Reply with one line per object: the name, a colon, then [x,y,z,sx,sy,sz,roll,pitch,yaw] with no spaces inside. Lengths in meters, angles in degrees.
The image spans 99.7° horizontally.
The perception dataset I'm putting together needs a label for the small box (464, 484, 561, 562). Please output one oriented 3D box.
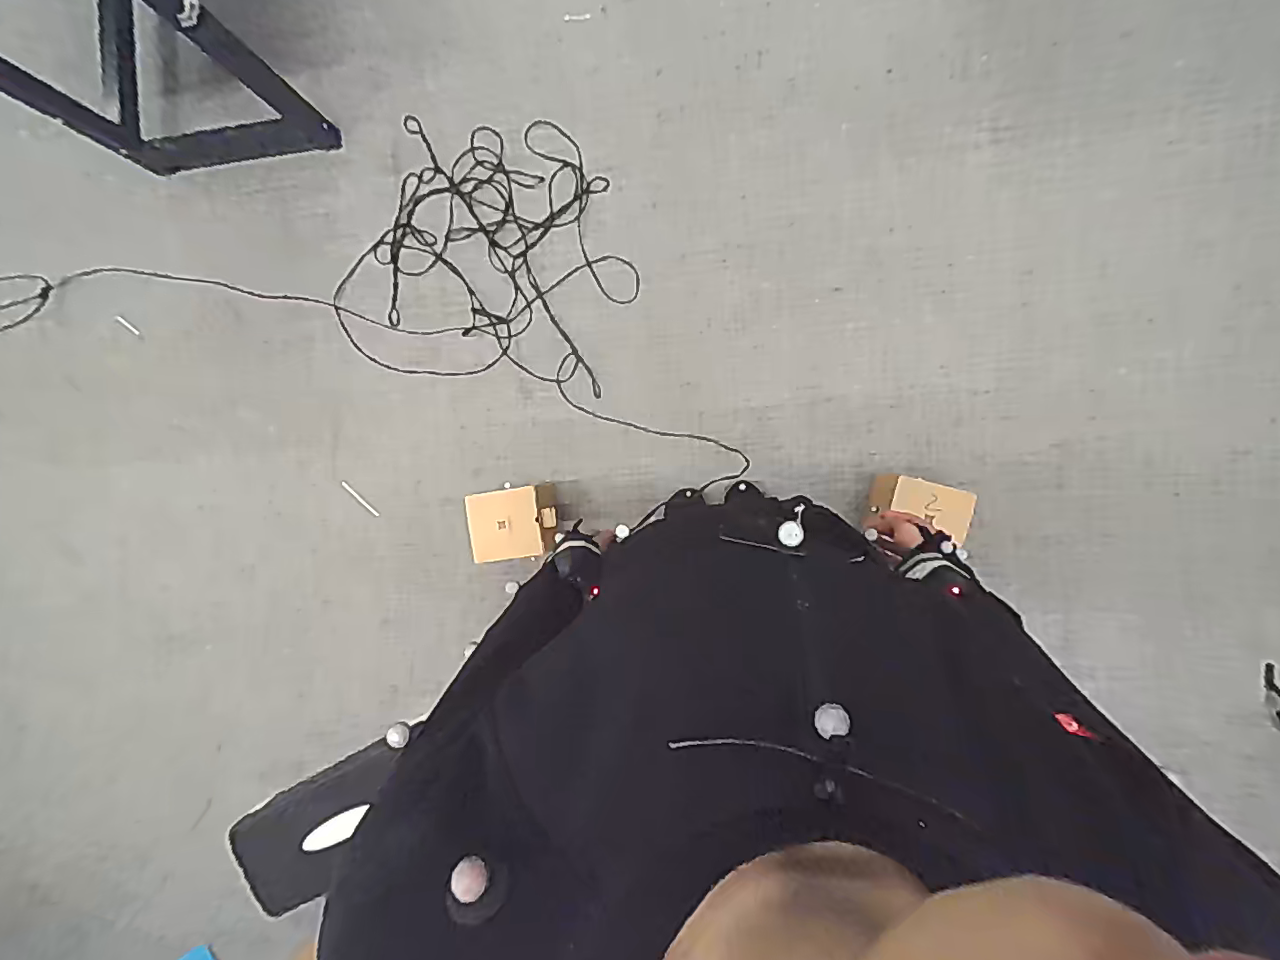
small box: [-0.308,0.103,1.338,0.179,0.176,0.168,-9,89,6]
